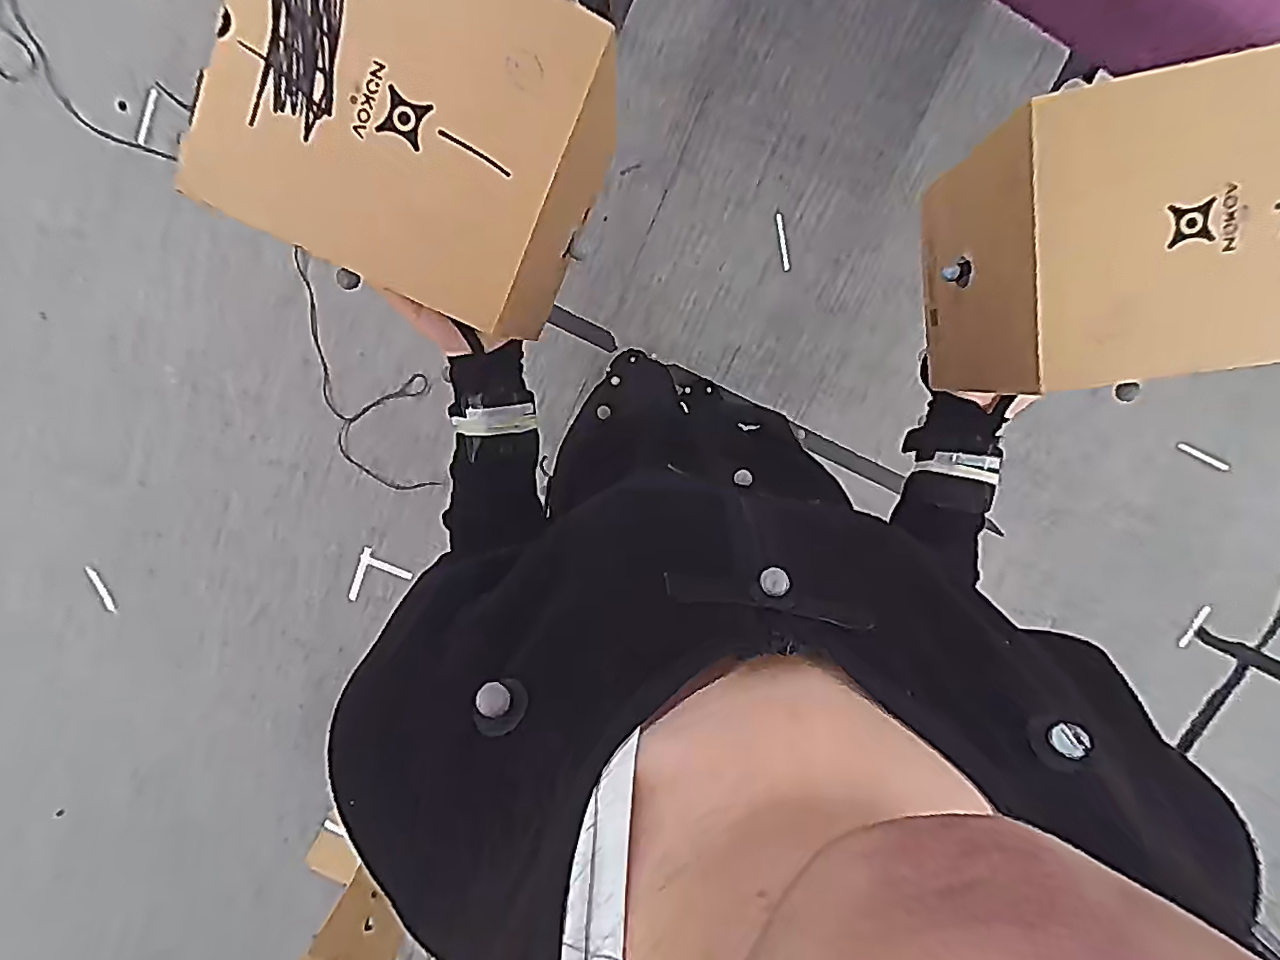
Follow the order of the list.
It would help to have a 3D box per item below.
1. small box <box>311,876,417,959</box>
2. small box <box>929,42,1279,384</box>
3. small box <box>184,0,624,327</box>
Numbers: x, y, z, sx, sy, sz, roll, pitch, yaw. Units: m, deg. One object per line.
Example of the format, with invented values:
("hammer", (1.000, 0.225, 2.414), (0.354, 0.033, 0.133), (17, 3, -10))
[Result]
("small box", (-0.609, 1.011, 1.162), (0.168, 0.176, 0.179), (30, 100, -4))
("small box", (0.321, -0.159, 0.377), (0.179, 0.176, 0.168), (-7, 100, 8))
("small box", (-0.123, -0.207, 0.348), (0.179, 0.176, 0.168), (24, 102, -8))
